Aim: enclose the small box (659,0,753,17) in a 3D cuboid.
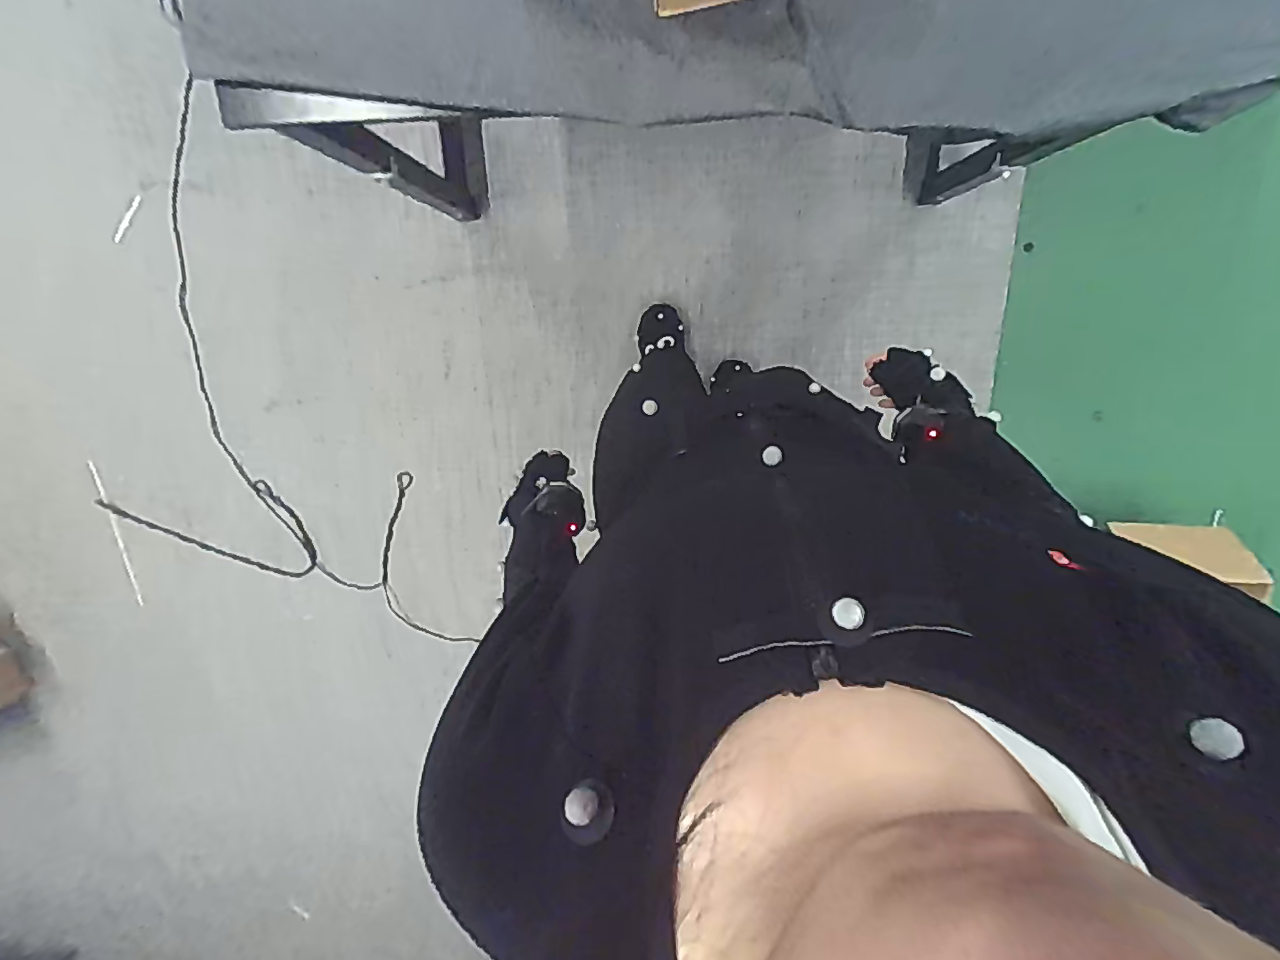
[{"bbox_3d":[0.083,-0.587,0.499,0.168,0.176,0.179,-9,106,5],"label":"small box"}]
